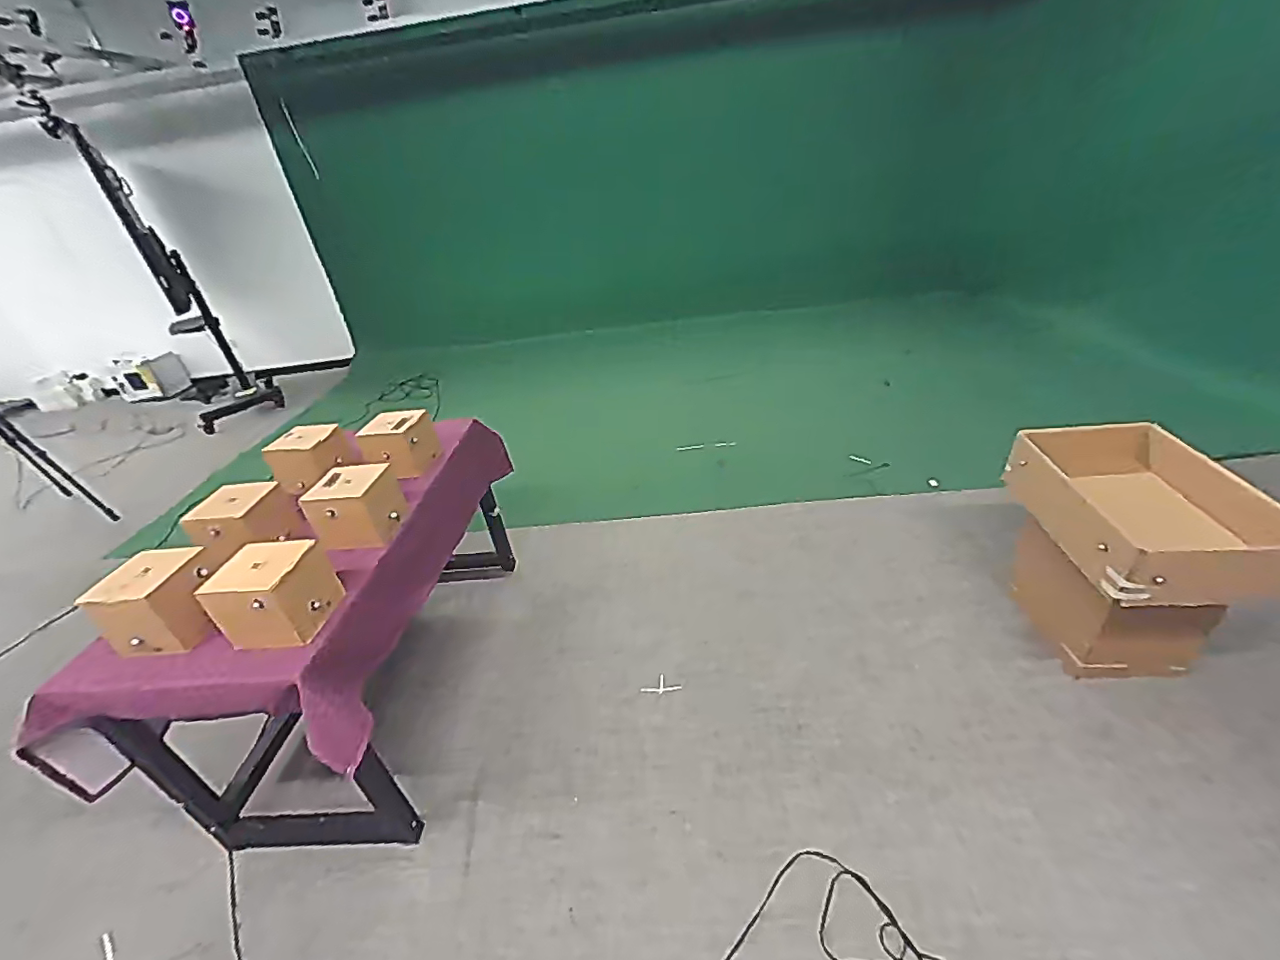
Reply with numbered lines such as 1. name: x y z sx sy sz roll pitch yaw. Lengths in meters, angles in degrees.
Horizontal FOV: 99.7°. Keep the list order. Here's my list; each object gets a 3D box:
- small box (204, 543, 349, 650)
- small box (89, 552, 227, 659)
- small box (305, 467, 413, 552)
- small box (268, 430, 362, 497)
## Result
1. small box: -0.800 0.263 1.209 0.179 0.176 0.168 -5 31 7
2. small box: -1.070 0.287 1.241 0.168 0.176 0.179 -5 31 8
3. small box: -0.763 0.083 1.486 0.179 0.176 0.168 -5 32 8
4. small box: -1.065 -0.053 1.789 0.179 0.176 0.168 -1 32 12
